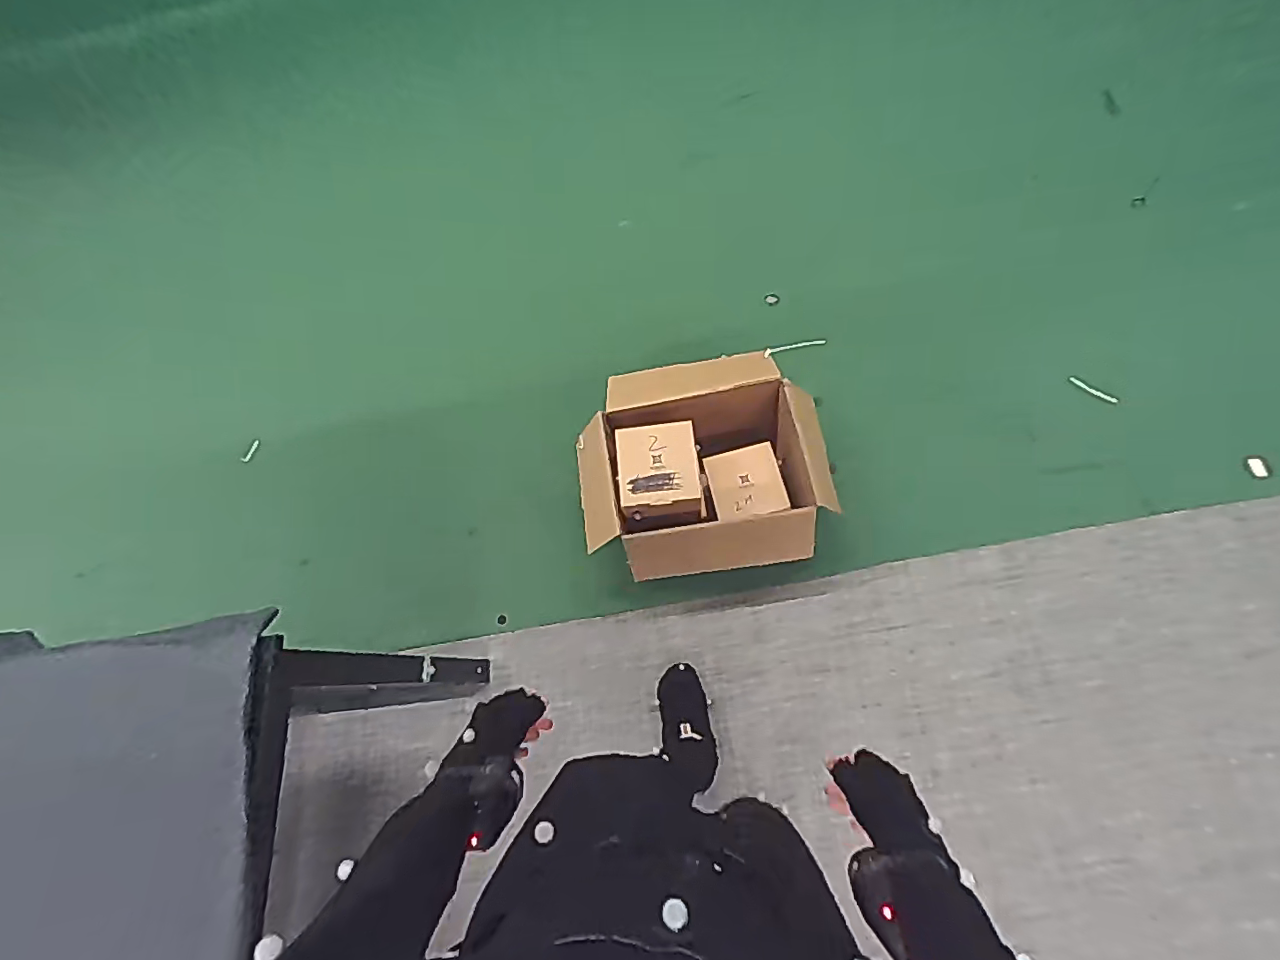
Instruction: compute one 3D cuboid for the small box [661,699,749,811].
[{"bbox_3d":[0.139,0.596,1.193,0.168,0.176,0.179,8,74,4],"label":"small box"}]
